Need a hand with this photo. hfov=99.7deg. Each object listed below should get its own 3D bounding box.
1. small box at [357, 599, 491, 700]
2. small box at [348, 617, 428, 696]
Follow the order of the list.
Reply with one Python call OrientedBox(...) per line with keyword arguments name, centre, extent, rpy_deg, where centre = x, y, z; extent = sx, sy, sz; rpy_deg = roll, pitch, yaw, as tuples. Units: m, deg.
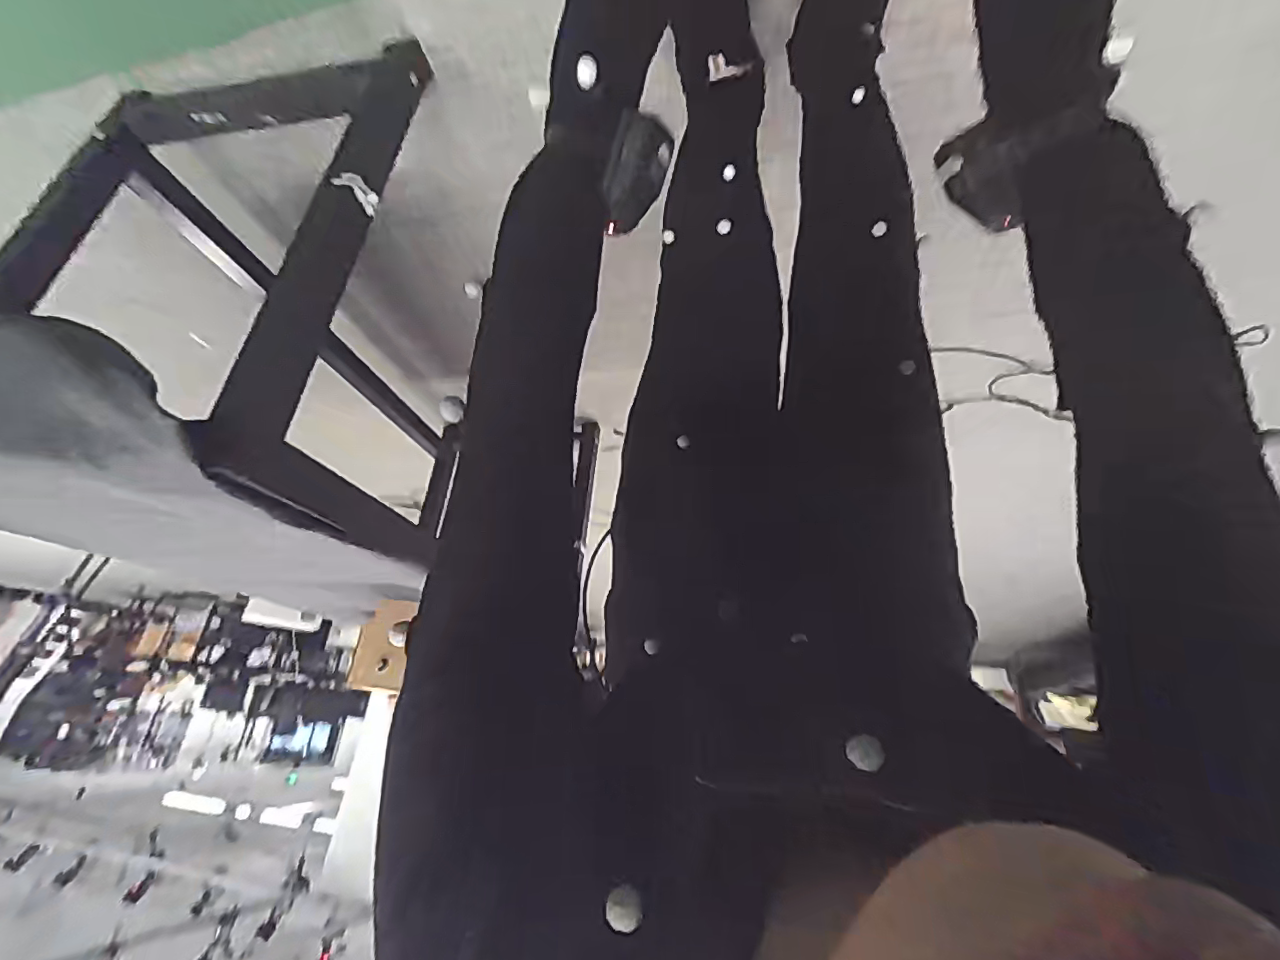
OrientedBox(name="small box", centre=(-0.427, 0.344, 1.101), extent=(0.179, 0.176, 0.168), rpy_deg=(2, 156, 10))
OrientedBox(name="small box", centre=(-0.590, 0.446, 1.372), extent=(0.179, 0.176, 0.168), rpy_deg=(0, 155, 11))
